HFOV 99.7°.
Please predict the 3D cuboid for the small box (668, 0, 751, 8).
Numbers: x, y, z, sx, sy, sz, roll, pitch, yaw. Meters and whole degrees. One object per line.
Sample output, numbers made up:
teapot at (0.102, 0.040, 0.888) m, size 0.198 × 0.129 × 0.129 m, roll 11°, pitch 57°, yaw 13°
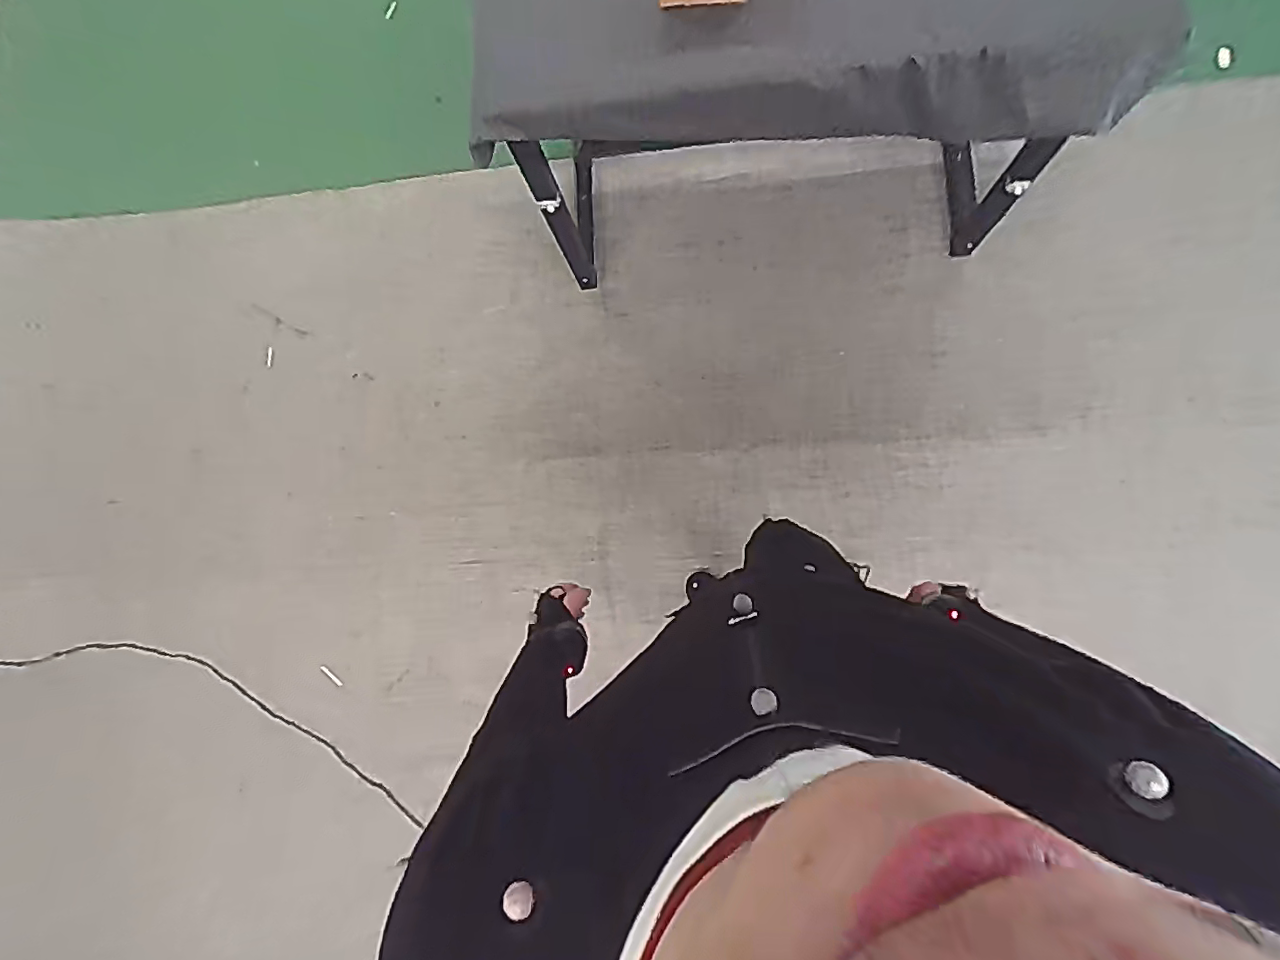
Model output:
small box at (0.122, -0.966, 0.935) m, size 0.168 × 0.176 × 0.179 m, roll 1°, pitch 81°, yaw 9°
